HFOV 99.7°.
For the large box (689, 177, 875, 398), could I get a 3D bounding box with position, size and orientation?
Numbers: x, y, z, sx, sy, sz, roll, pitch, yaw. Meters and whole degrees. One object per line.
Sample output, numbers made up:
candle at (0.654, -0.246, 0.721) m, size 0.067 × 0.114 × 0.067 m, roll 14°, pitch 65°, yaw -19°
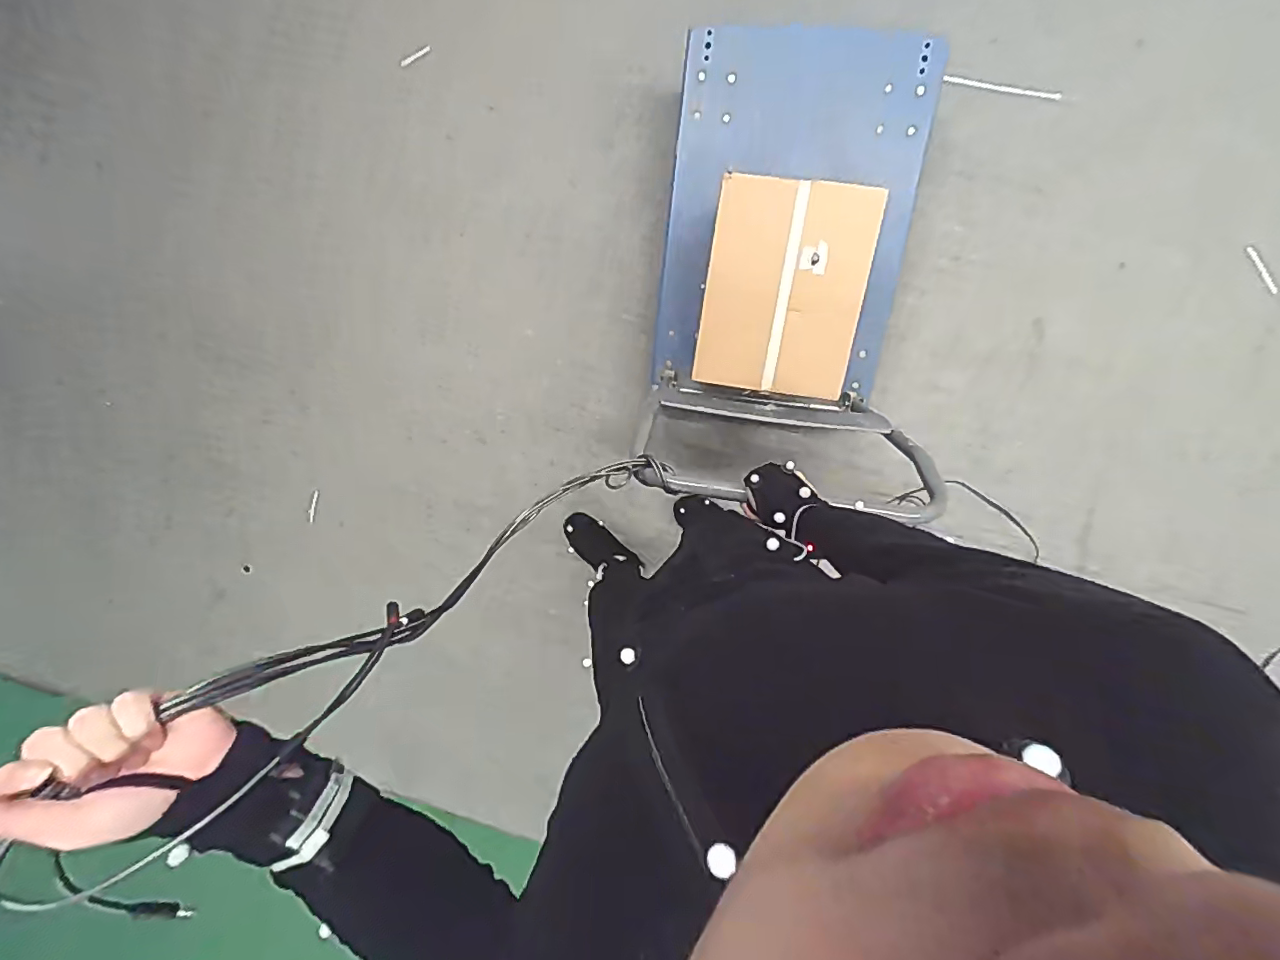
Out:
large box at (0.298, -0.417, 1.238) m, size 0.320 × 0.320 × 0.408 m, roll 9°, pitch 106°, yaw 5°
